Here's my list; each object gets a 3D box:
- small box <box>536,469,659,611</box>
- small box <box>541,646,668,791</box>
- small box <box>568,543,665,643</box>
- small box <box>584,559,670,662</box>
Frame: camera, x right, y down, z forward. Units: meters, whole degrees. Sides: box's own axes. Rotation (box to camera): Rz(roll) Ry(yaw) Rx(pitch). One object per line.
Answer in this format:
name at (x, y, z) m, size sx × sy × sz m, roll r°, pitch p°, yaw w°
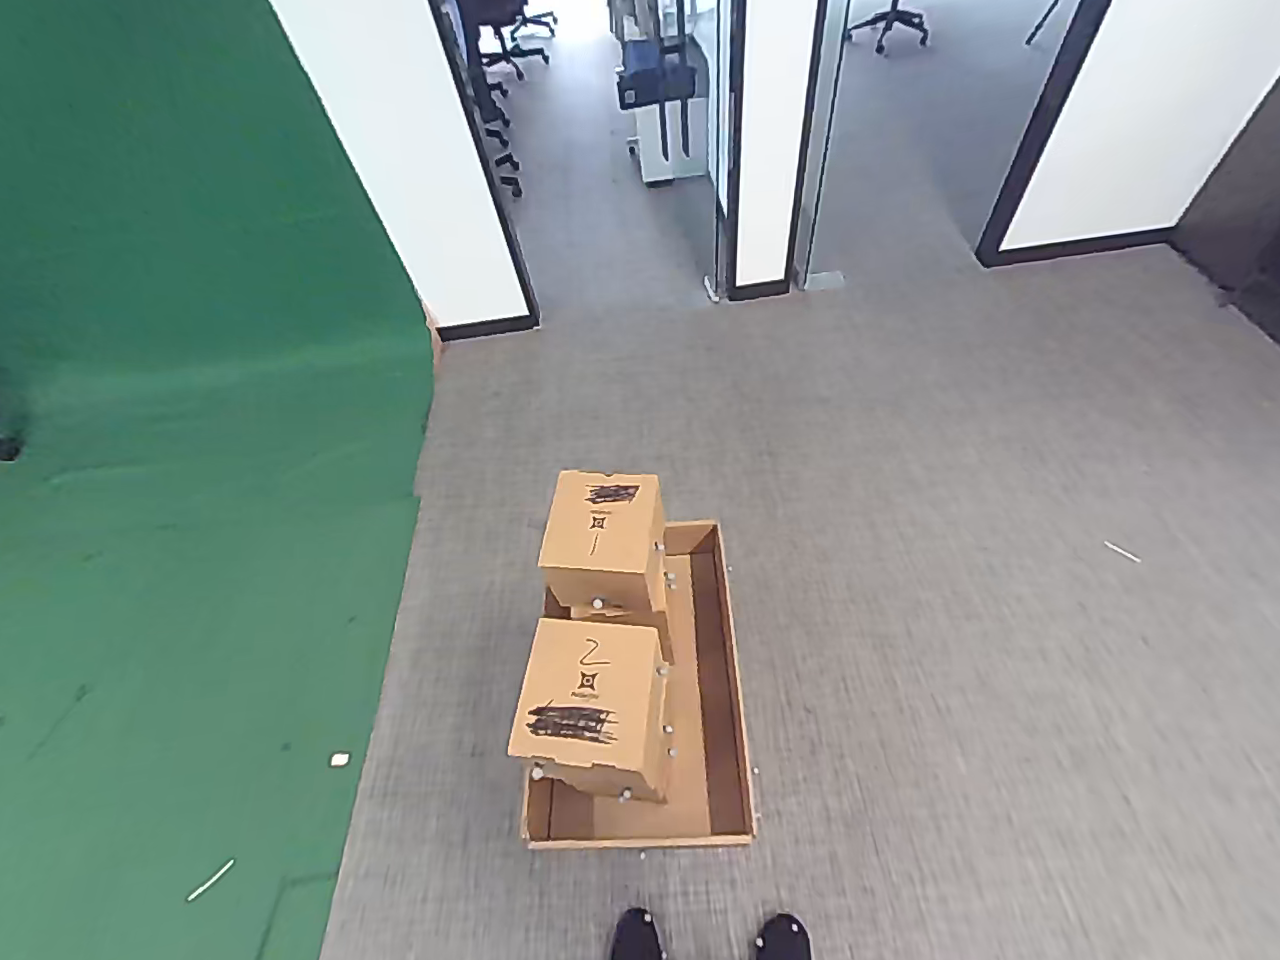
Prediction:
small box at (-0.059, 0.102, 0.909) m, size 0.168 × 0.176 × 0.179 m, roll 2°, pitch 57°, yaw 8°
small box at (-0.046, 0.397, 0.893) m, size 0.168 × 0.176 × 0.179 m, roll 5°, pitch 54°, yaw 9°
small box at (-0.040, 0.198, 1.041) m, size 0.168 × 0.176 × 0.179 m, roll -5°, pitch 56°, yaw 3°
small box at (-0.024, 0.288, 1.175) m, size 0.168 × 0.176 × 0.179 m, roll -5°, pitch 55°, yaw 4°
